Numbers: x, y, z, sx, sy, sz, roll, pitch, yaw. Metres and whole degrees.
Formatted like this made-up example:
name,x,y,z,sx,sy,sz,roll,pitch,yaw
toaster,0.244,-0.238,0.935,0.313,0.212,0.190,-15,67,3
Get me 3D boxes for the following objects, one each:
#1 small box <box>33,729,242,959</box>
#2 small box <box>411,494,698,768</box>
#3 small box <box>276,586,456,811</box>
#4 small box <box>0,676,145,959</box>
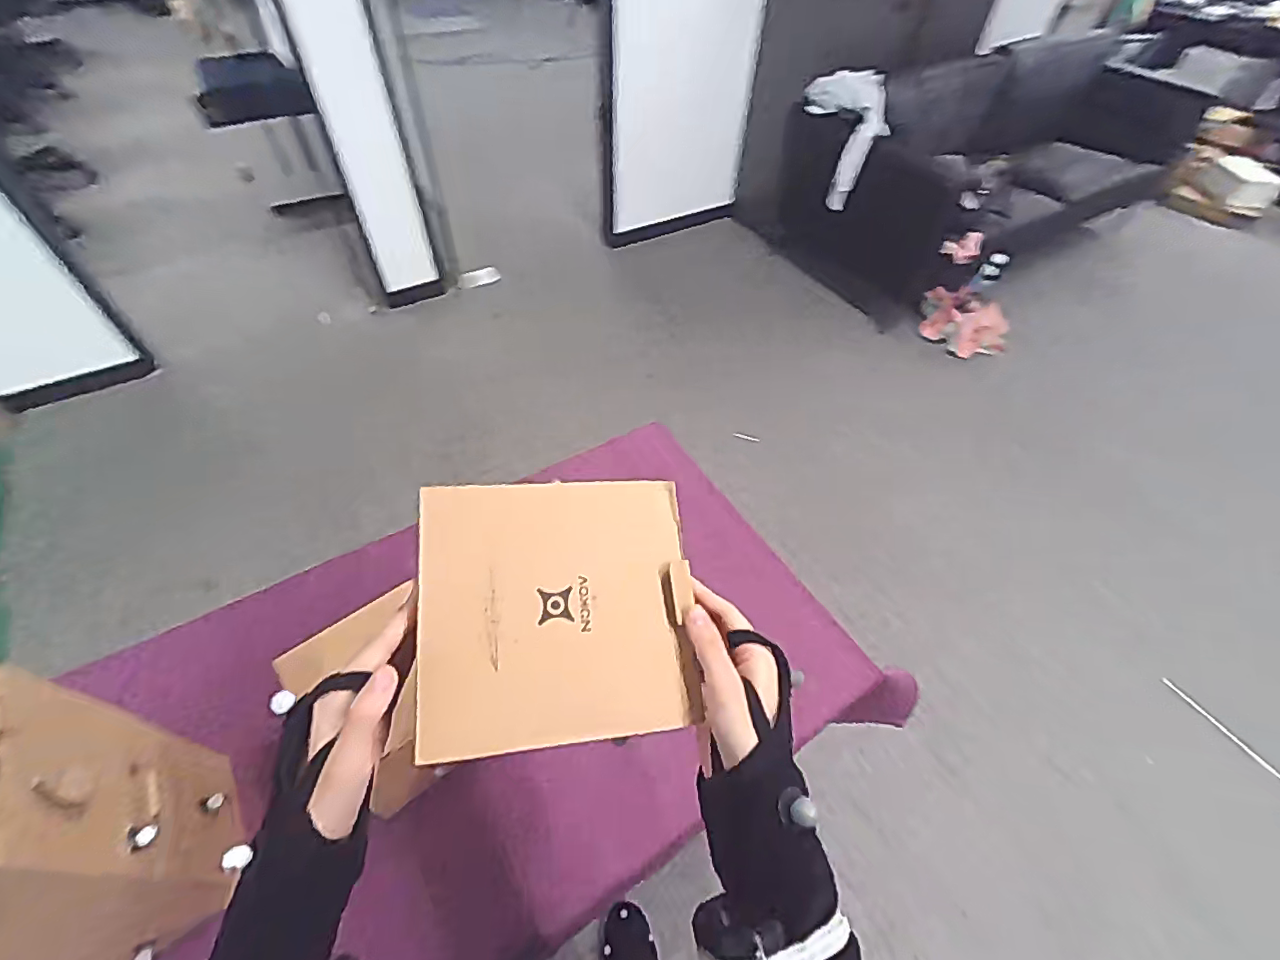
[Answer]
name,x,y,z,sx,sy,sz,roll,pitch,yaw
small box,-0.549,0.397,0.557,0.179,0.176,0.168,-27,57,-23
small box,-0.069,0.112,0.425,0.179,0.176,0.168,-1,71,-13
small box,-0.302,0.272,0.669,0.168,0.176,0.179,-32,60,-25
small box,-0.542,0.294,0.428,0.179,0.176,0.168,-28,58,-21
